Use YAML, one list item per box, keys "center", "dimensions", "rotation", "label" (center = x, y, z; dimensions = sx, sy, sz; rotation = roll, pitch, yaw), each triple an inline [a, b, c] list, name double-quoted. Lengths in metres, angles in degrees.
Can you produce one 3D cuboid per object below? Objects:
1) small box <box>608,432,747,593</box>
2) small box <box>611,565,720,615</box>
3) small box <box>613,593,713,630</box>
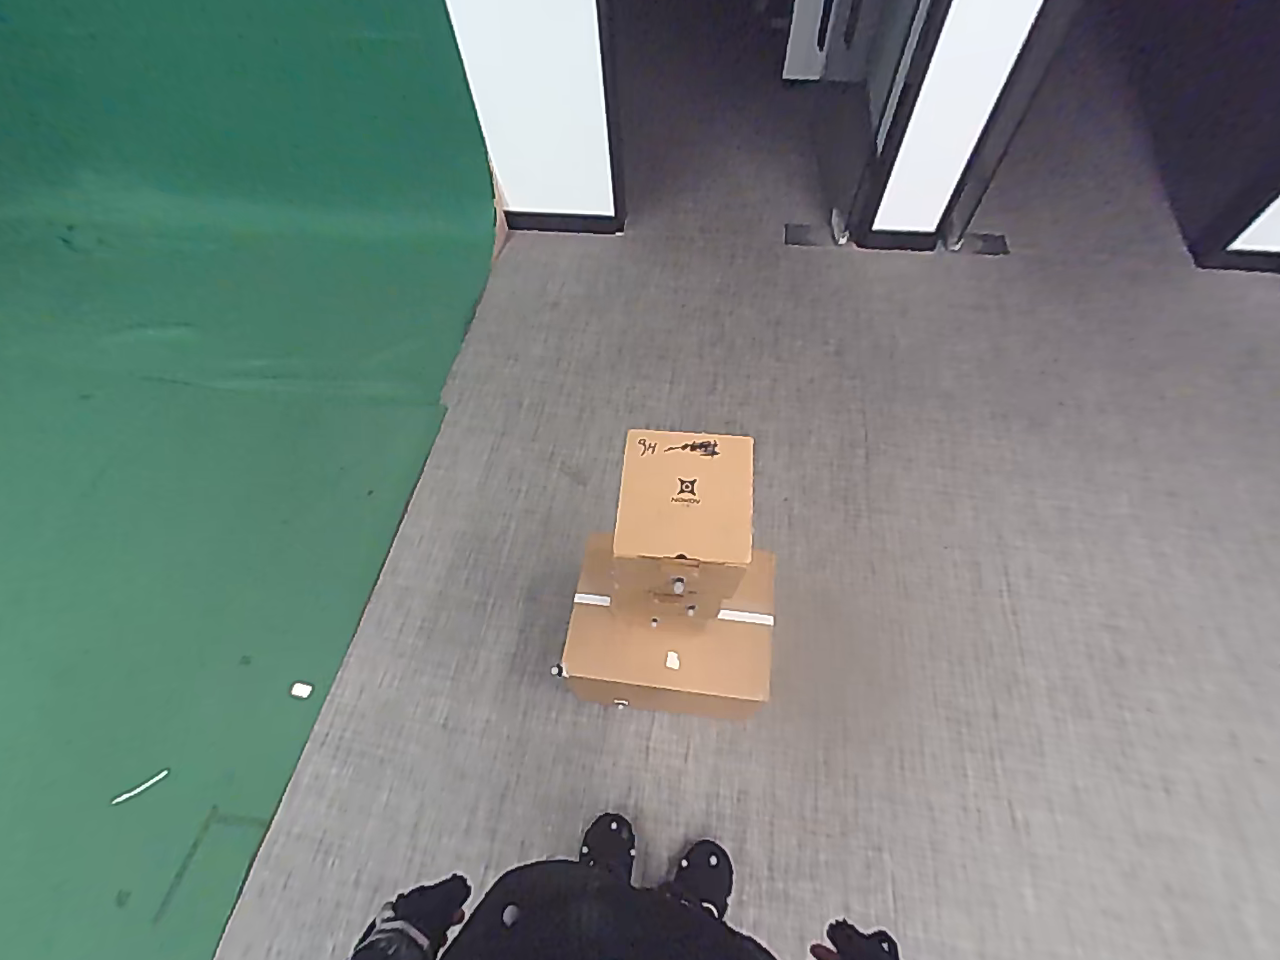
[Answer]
- center: [0.055, 0.053, 0.750]
  dimensions: [0.168, 0.176, 0.179]
  rotation: [4, 67, 5]
  label: "small box"
- center: [0.050, 0.120, 0.899]
  dimensions: [0.168, 0.176, 0.179]
  rotation: [4, 65, 4]
  label: "small box"
- center: [0.052, 0.189, 1.046]
  dimensions: [0.179, 0.176, 0.168]
  rotation: [6, 67, 6]
  label: "small box"
